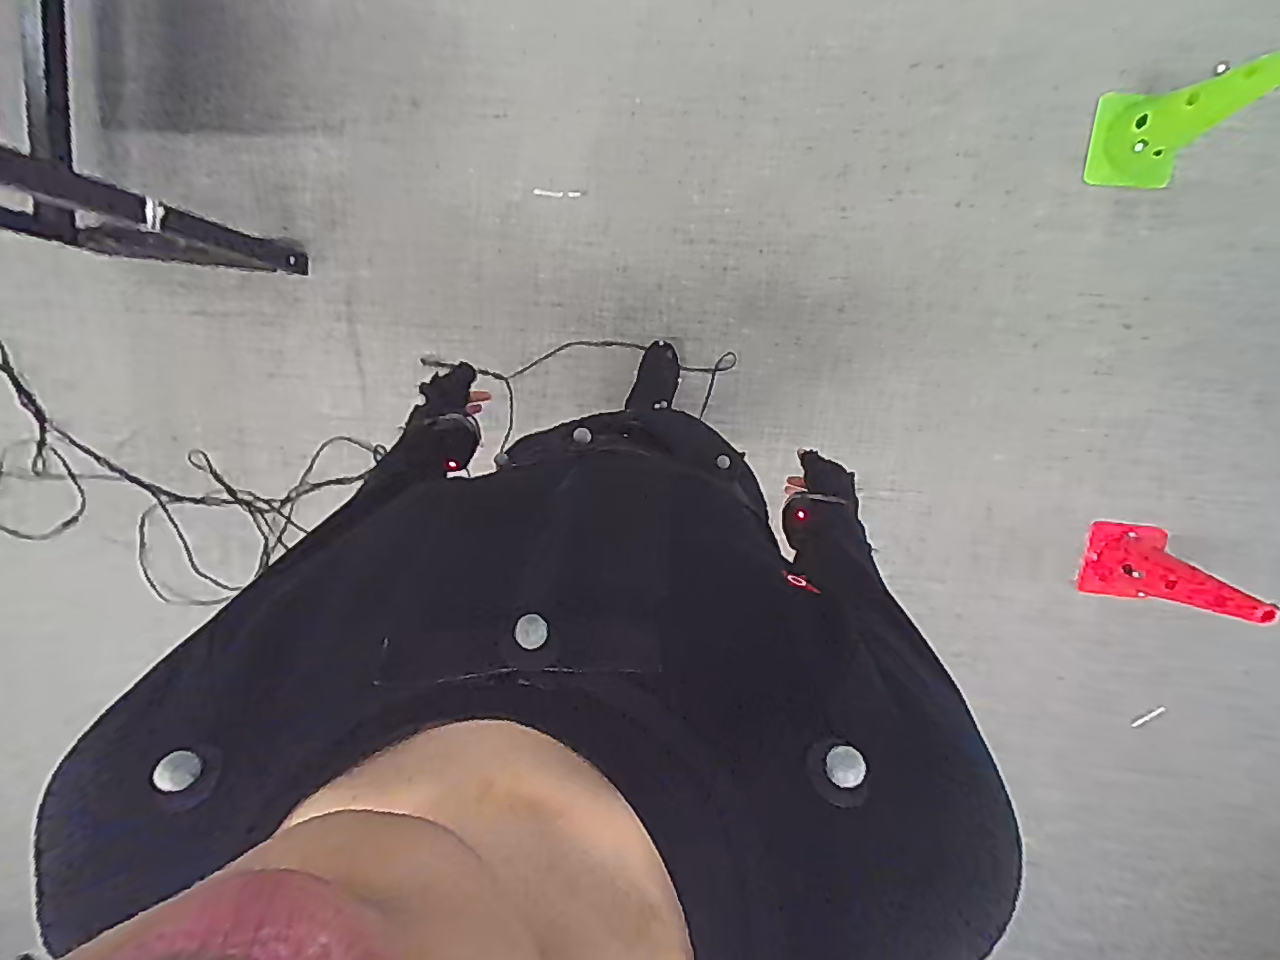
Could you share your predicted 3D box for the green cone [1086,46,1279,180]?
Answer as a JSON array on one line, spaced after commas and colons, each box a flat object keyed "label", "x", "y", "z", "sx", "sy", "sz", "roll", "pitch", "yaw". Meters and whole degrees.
[{"label": "green cone", "x": 1.147, "y": -0.776, "z": 1.087, "sx": 0.200, "sy": 0.368, "sz": 0.202, "roll": 3, "pitch": 101, "yaw": 2}]
